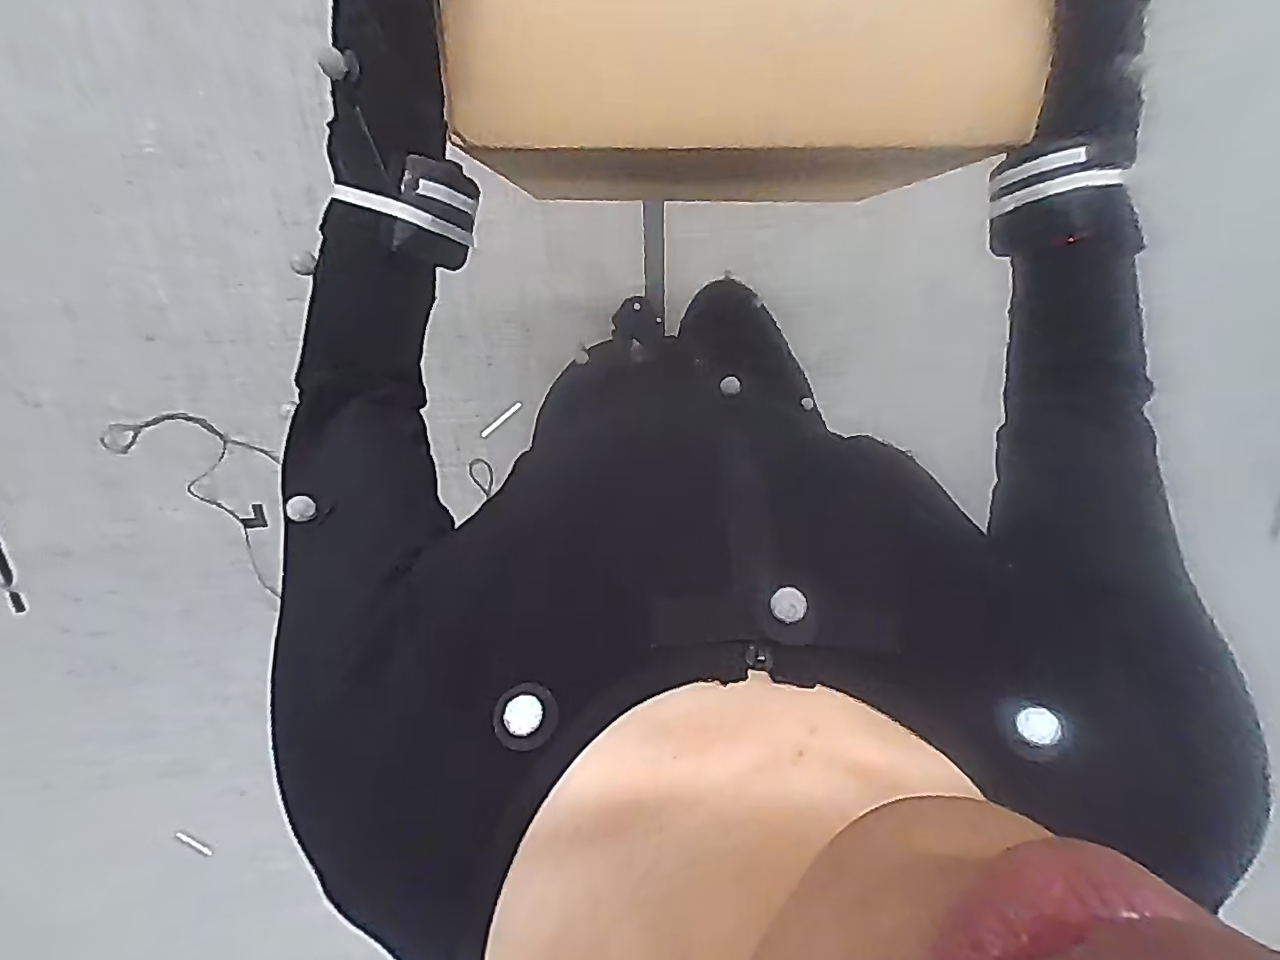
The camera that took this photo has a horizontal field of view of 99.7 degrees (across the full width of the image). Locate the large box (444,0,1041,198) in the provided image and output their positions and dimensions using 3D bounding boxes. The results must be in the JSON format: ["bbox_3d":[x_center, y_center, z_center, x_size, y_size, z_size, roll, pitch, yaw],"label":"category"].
[{"bbox_3d":[0.065,-0.442,0.470,0.408,0.320,0.320,0,111,0],"label":"large box"}]
